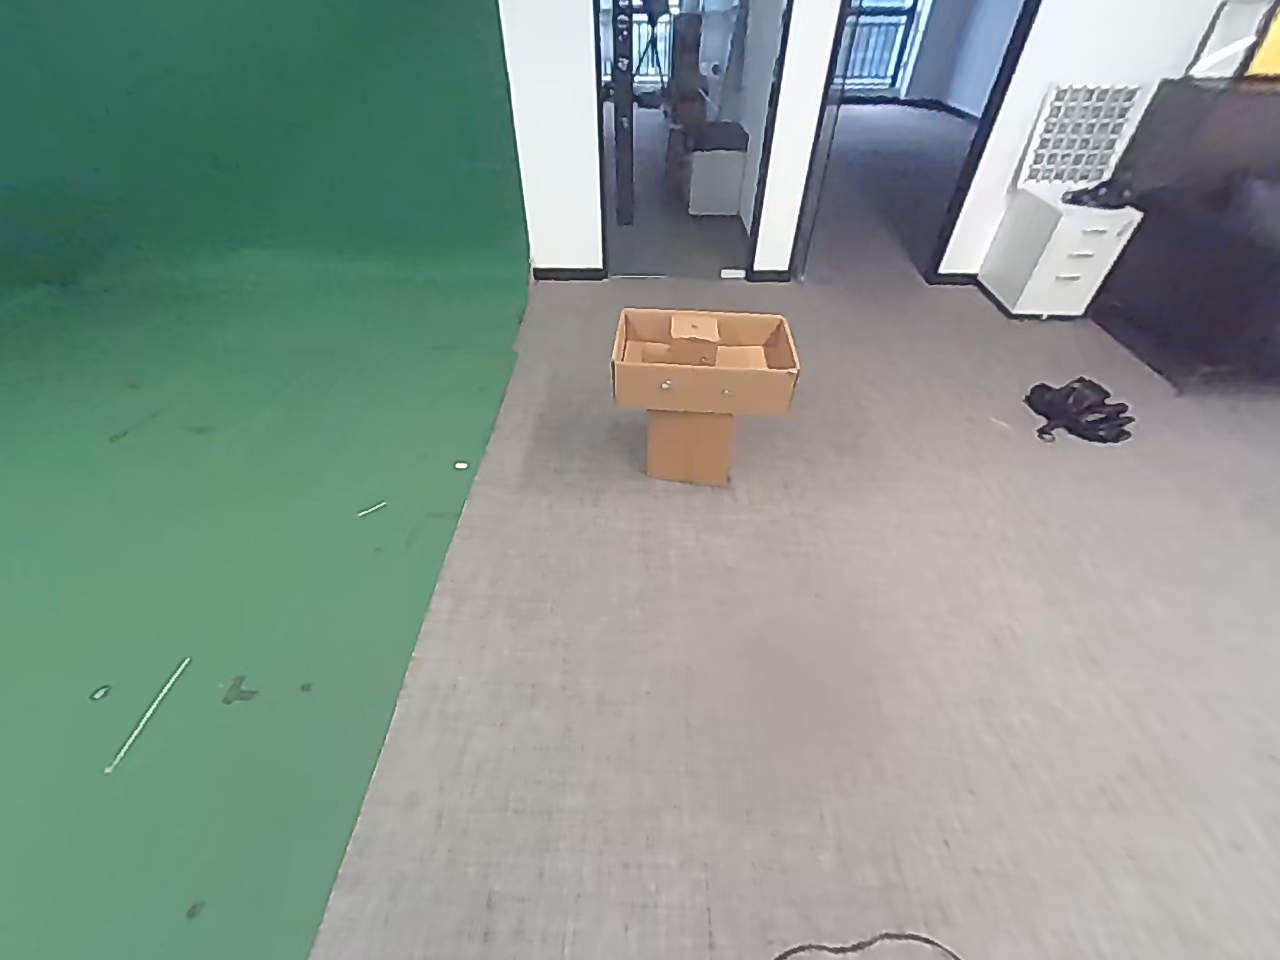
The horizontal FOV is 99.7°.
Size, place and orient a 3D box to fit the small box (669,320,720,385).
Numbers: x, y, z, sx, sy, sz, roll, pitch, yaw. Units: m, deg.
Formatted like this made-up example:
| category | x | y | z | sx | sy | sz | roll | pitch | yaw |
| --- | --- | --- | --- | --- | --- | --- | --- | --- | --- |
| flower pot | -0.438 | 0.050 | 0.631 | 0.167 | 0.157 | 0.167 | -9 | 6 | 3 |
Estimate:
| category | x | y | z | sx | sy | sz | roll | pitch | yaw |
| --- | --- | --- | --- | --- | --- | --- | --- | --- | --- |
| small box | 0.194 | -0.458 | 1.953 | 0.168 | 0.176 | 0.179 | 4 | 41 | 0 |
